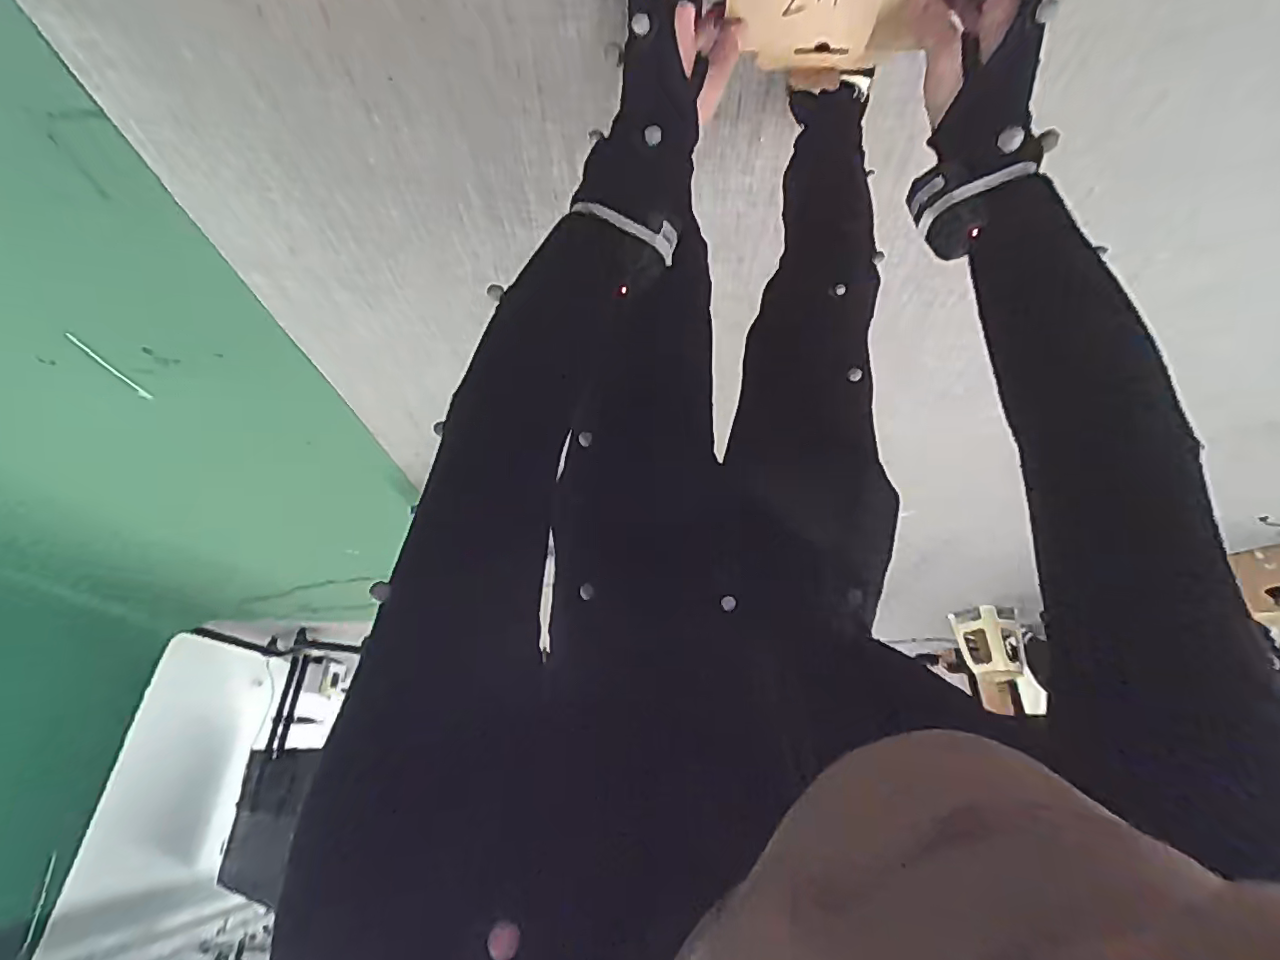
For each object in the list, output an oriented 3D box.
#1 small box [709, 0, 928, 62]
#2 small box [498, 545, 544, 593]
[{"bbox_3d":[0.147,-0.465,0.404,0.168,0.176,0.179,6,152,-3],"label":"small box"},{"bbox_3d":[-0.542,0.412,2.493,0.168,0.176,0.179,1,150,0],"label":"small box"}]
